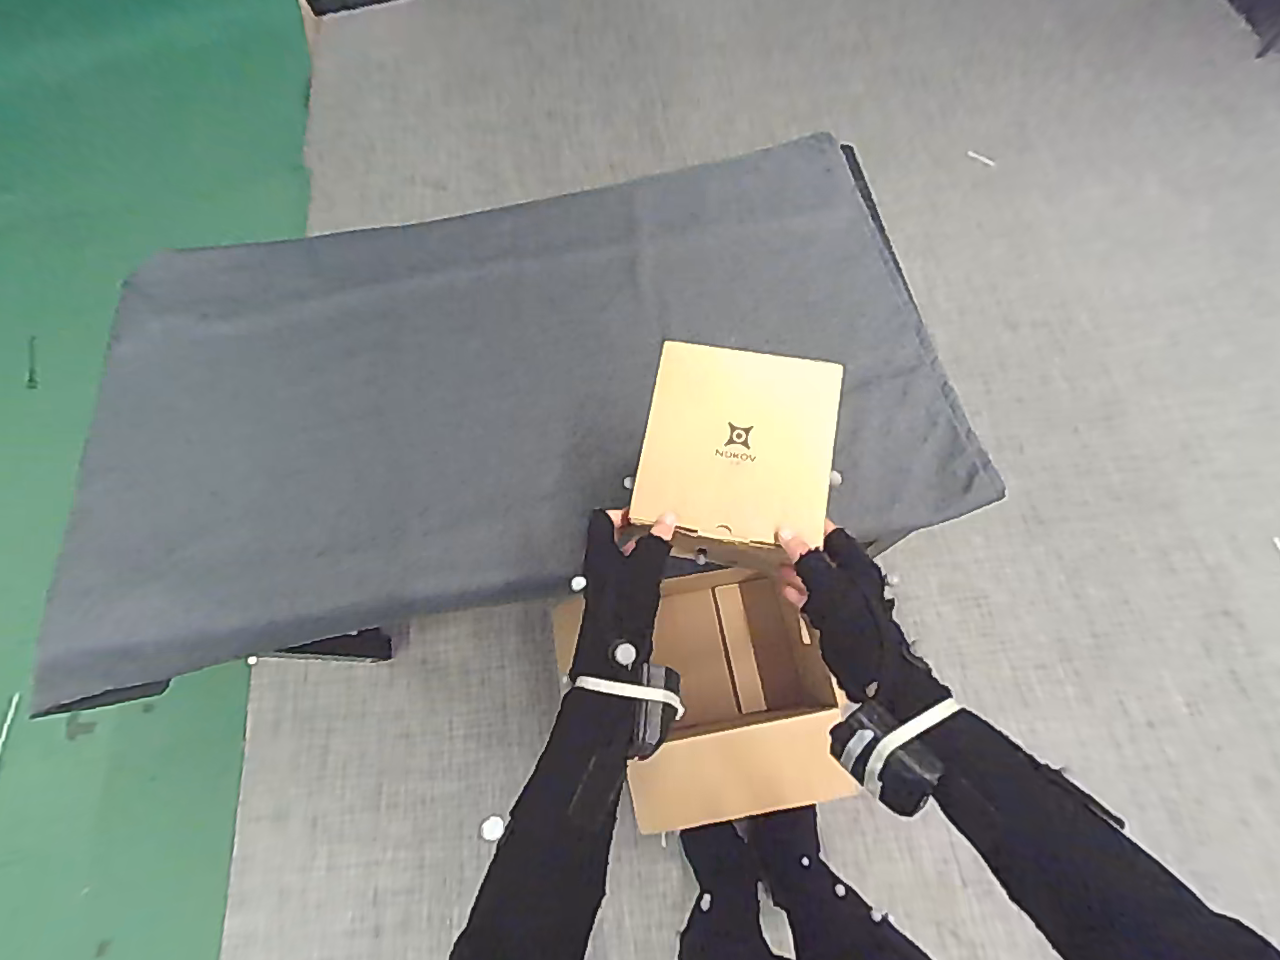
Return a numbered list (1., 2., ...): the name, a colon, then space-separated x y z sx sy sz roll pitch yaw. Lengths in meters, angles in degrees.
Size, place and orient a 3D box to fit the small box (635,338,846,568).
1. small box: 0.094 -0.016 0.548 0.168 0.176 0.179 9 77 6
